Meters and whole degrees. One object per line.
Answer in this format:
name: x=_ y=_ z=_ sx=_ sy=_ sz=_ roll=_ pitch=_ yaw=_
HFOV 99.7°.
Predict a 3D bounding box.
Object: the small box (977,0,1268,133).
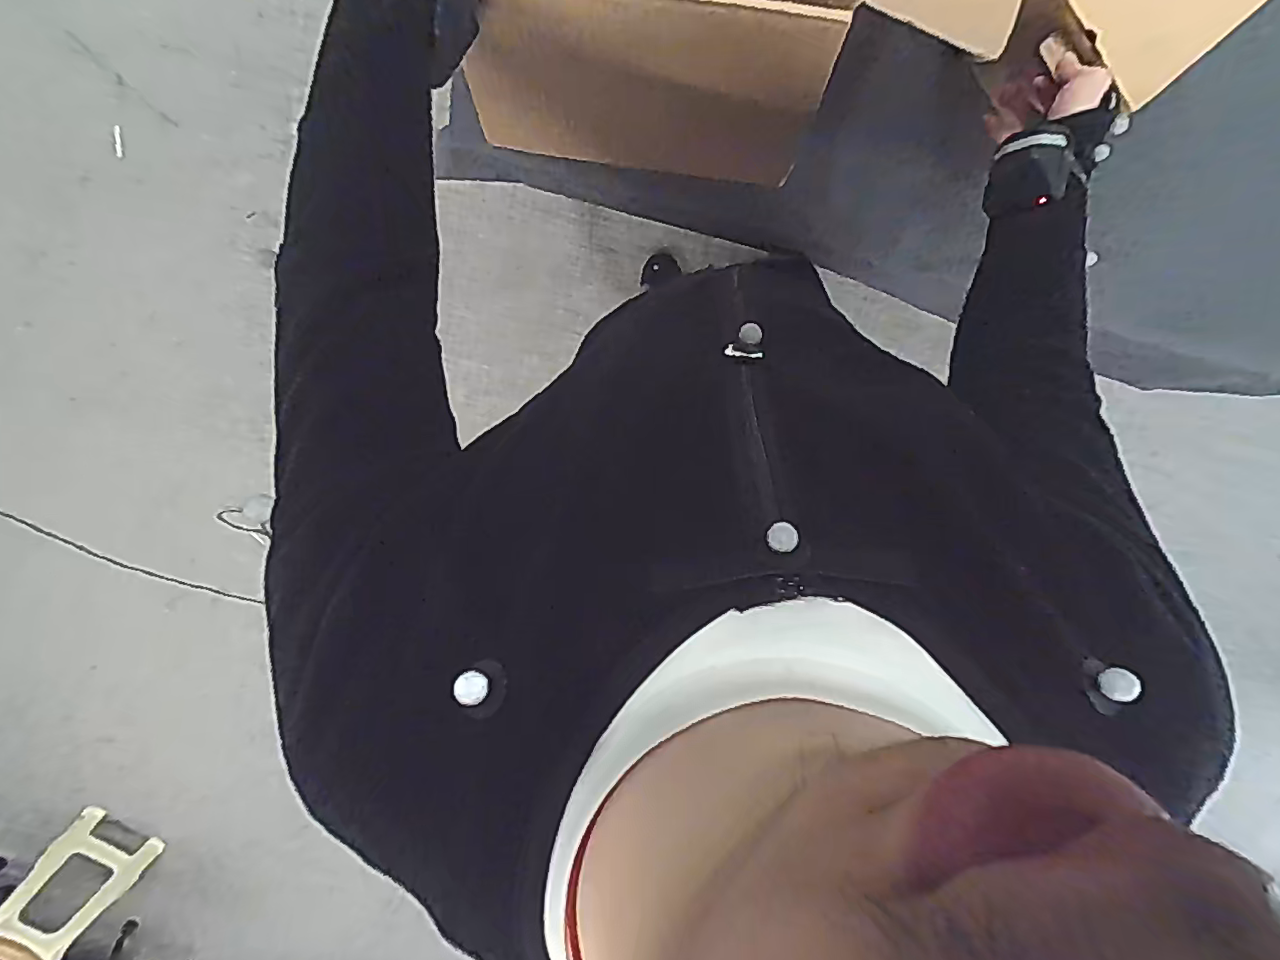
small box: x=0.475 y=-0.487 z=0.536 sx=0.179 sy=0.176 sz=0.168 roll=-38 pitch=105 yaw=19
